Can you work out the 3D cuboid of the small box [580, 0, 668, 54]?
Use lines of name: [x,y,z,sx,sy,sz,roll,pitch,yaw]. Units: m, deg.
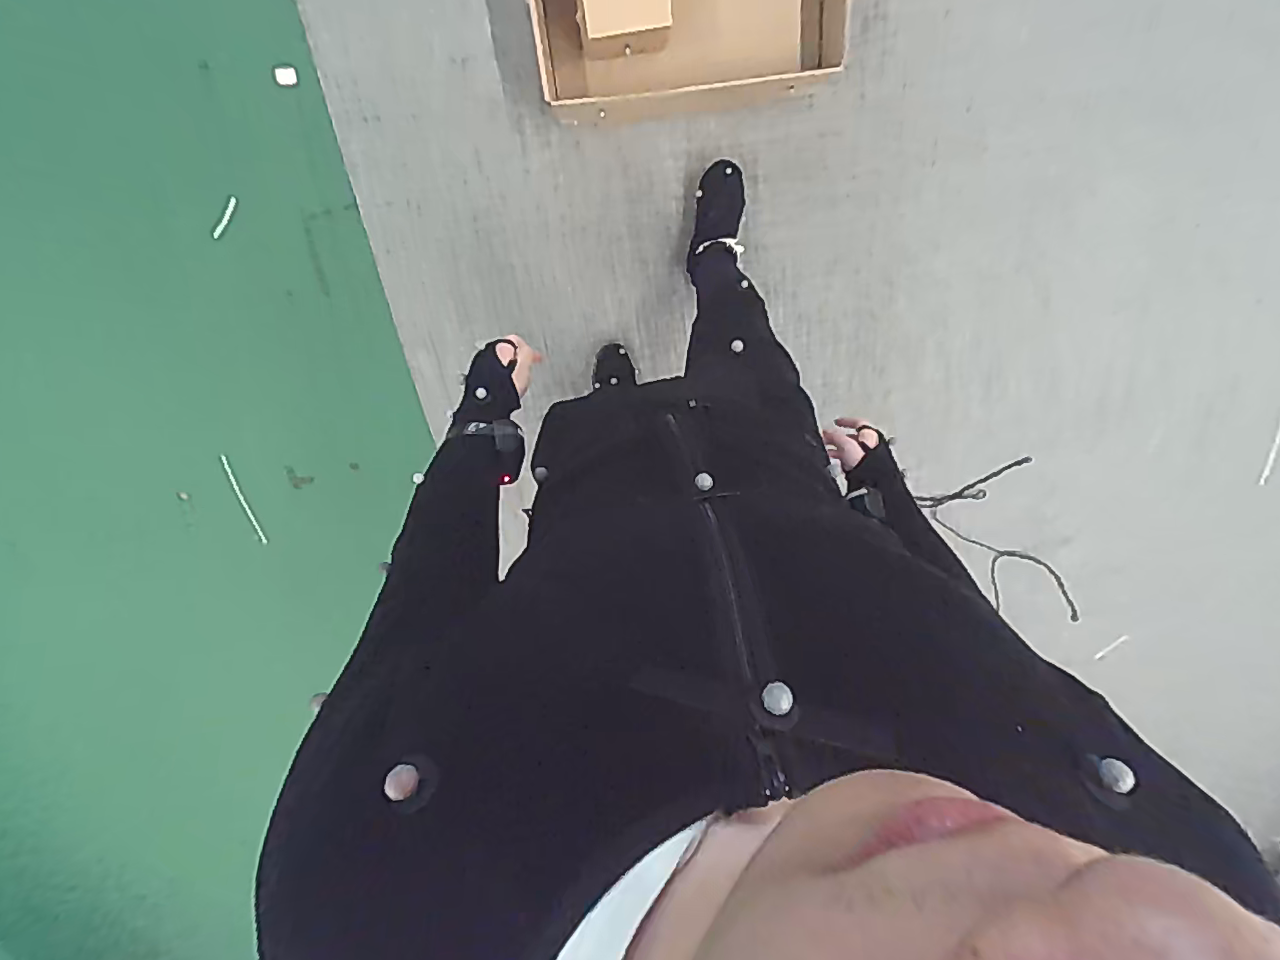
small box: [-0.036,-0.965,1.060,0.168,0.176,0.179,-7,115,1]
